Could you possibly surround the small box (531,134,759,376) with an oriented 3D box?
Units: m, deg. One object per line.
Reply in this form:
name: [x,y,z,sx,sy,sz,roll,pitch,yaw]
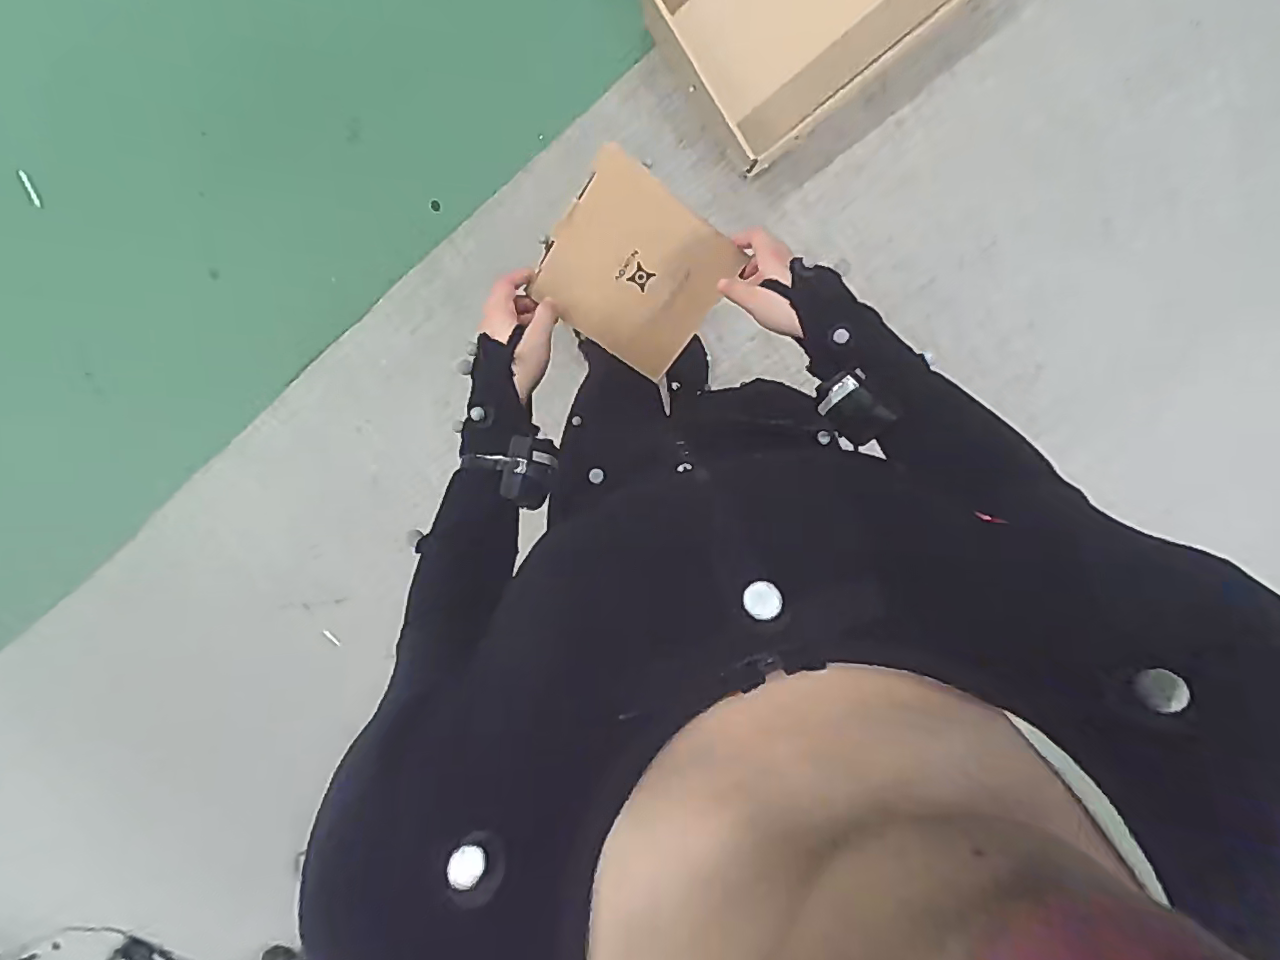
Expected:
small box: [-0.002,-0.252,0.611,0.179,0.176,0.168,29,114,-21]
